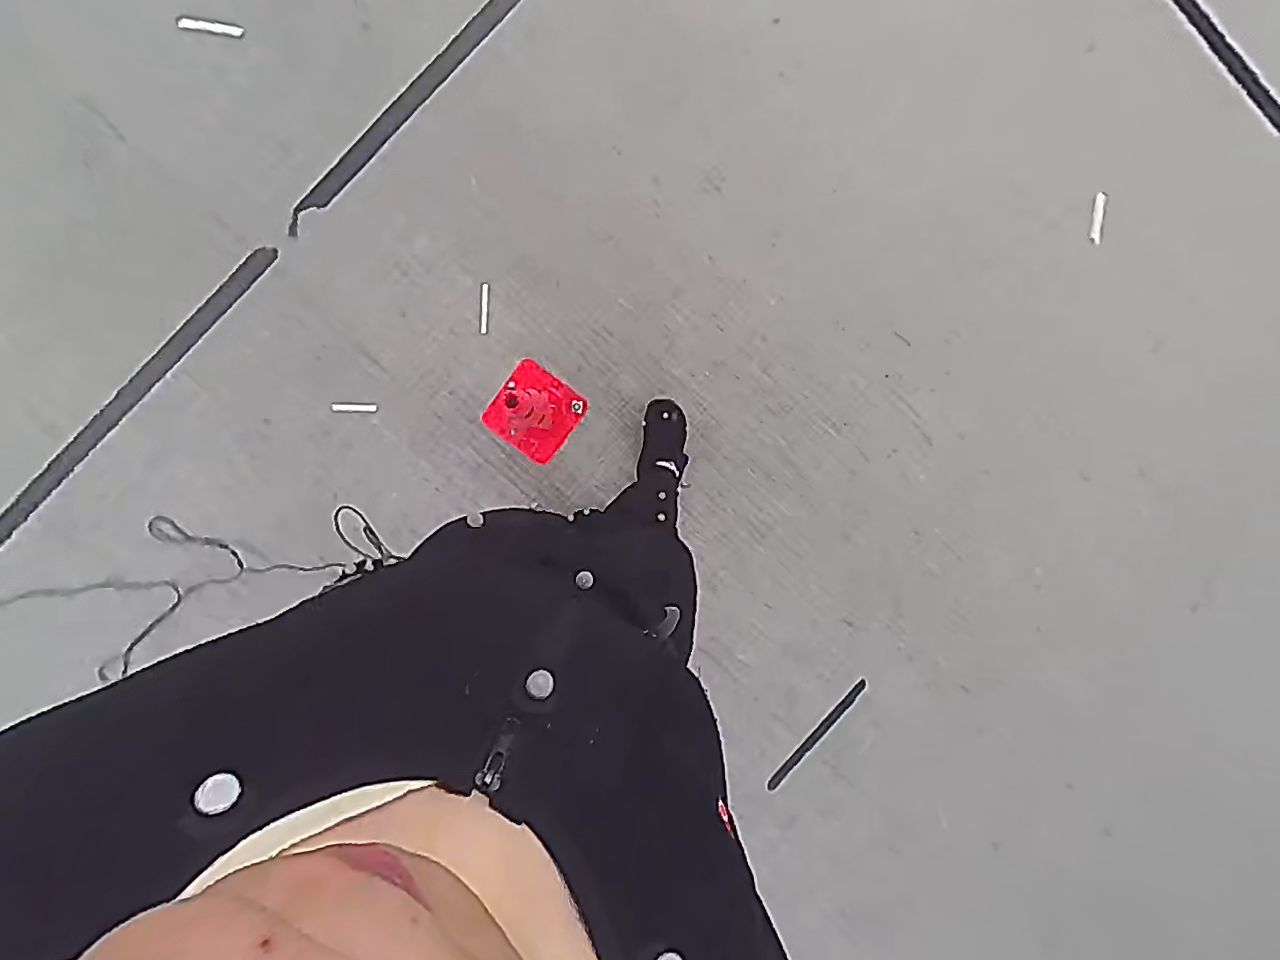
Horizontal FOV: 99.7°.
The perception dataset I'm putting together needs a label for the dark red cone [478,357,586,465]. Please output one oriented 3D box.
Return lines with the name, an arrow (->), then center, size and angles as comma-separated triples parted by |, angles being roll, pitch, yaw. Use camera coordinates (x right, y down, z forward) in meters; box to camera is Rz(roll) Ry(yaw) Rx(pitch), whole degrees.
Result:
dark red cone -> -0.248, -0.149, 1.121 | 0.201, 0.394, 0.202 | 36, 92, -4
